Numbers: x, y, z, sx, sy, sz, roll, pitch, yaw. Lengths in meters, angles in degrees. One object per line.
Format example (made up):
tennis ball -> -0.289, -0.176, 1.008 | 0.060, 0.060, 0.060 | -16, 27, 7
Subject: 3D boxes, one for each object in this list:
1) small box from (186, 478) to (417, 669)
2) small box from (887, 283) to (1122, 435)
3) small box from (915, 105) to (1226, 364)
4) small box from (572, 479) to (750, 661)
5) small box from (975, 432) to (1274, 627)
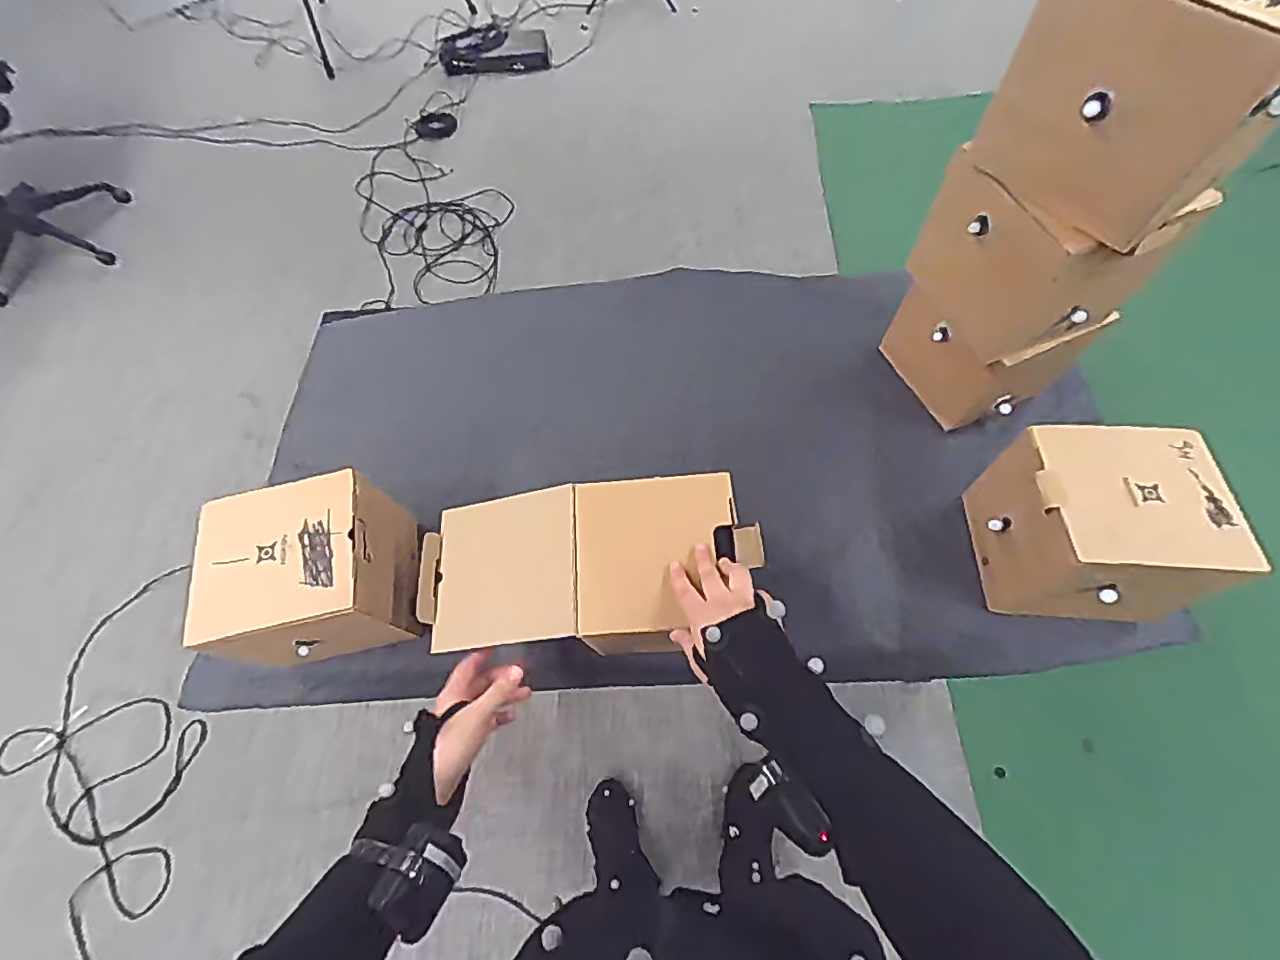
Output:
small box -> -0.382, 0.120, 0.650 | 0.179, 0.176, 0.168 | -13, 64, -2
small box -> 0.479, -0.194, 0.747 | 0.168, 0.176, 0.179 | -24, 66, -5
small box -> 0.444, -0.262, 0.600 | 0.168, 0.176, 0.179 | -20, 65, -2
small box -> 0.023, 0.112, 0.628 | 0.179, 0.176, 0.168 | -5, 66, 2
small box -> 0.512, 0.061, 0.614 | 0.179, 0.176, 0.168 | 2, 60, 6
